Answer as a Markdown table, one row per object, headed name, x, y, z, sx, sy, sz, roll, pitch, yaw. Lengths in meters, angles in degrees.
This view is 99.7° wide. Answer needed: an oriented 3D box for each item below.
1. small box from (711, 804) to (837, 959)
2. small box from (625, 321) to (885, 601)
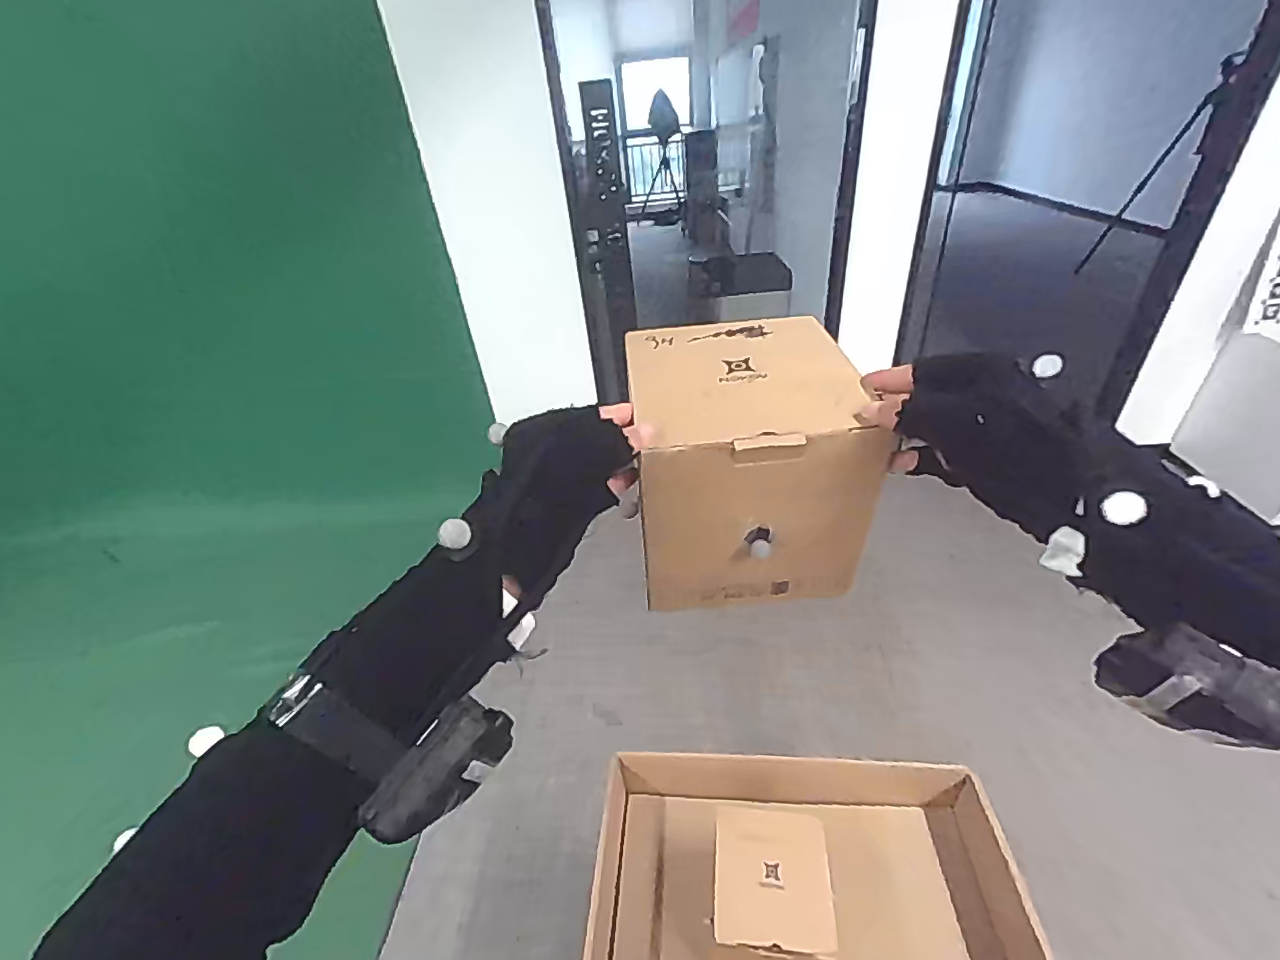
| name | x | y | z | sx | sy | sz | roll | pitch | yaw |
| --- | --- | --- | --- | --- | --- | --- | --- | --- | --- |
| small box | 0.195 | 0.637 | 0.829 | 0.168 | 0.176 | 0.179 | 2 | 34 | 7 |
| small box | 0.078 | -0.013 | 0.456 | 0.168 | 0.176 | 0.179 | -5 | 40 | -1 |
